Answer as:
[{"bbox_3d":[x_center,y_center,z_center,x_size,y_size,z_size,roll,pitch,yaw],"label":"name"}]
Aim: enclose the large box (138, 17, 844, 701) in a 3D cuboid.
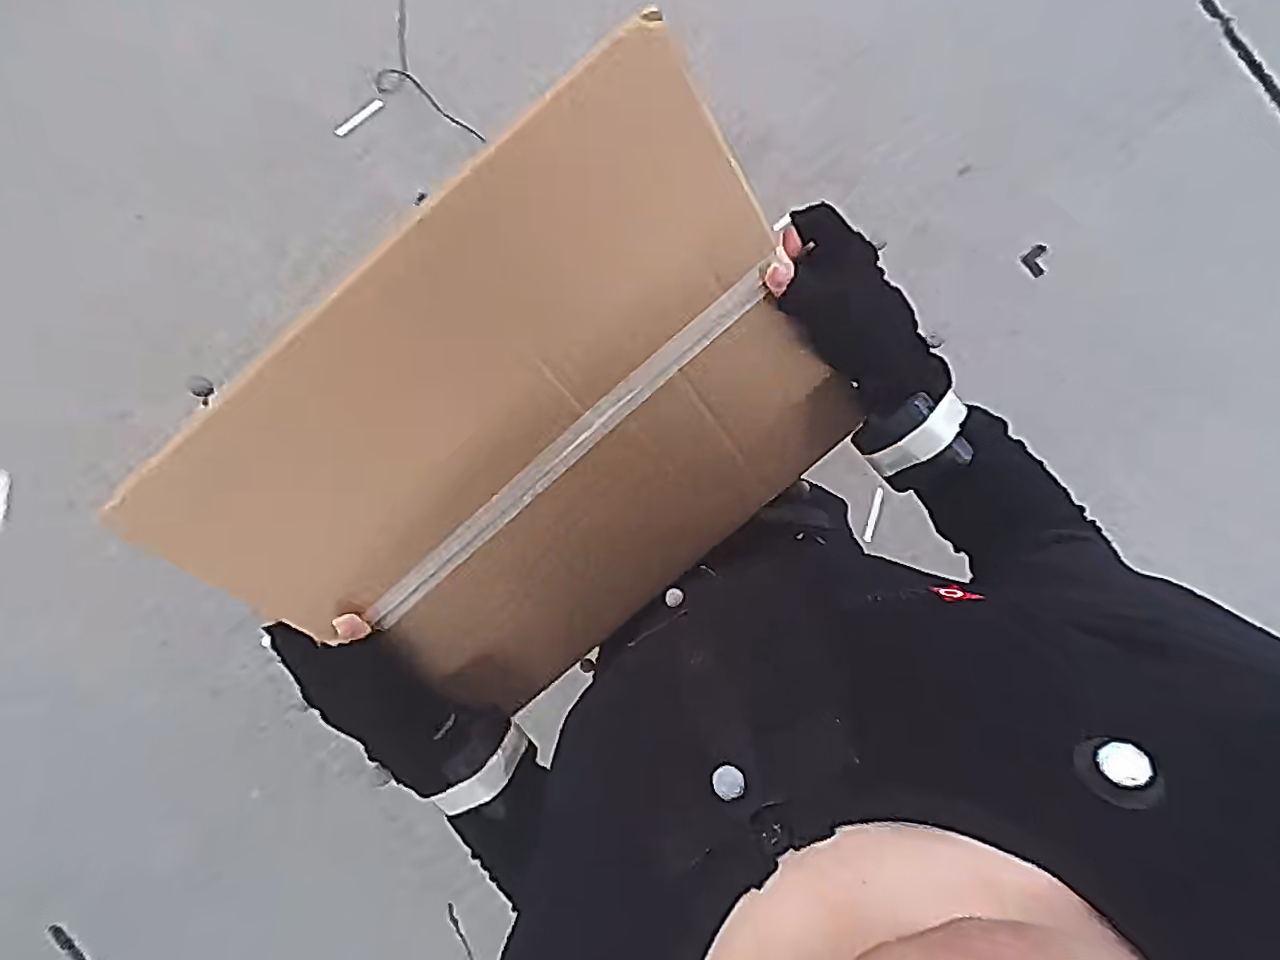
[{"bbox_3d":[-0.111,-0.090,0.507,0.408,0.320,0.320,-41,124,4],"label":"large box"}]
